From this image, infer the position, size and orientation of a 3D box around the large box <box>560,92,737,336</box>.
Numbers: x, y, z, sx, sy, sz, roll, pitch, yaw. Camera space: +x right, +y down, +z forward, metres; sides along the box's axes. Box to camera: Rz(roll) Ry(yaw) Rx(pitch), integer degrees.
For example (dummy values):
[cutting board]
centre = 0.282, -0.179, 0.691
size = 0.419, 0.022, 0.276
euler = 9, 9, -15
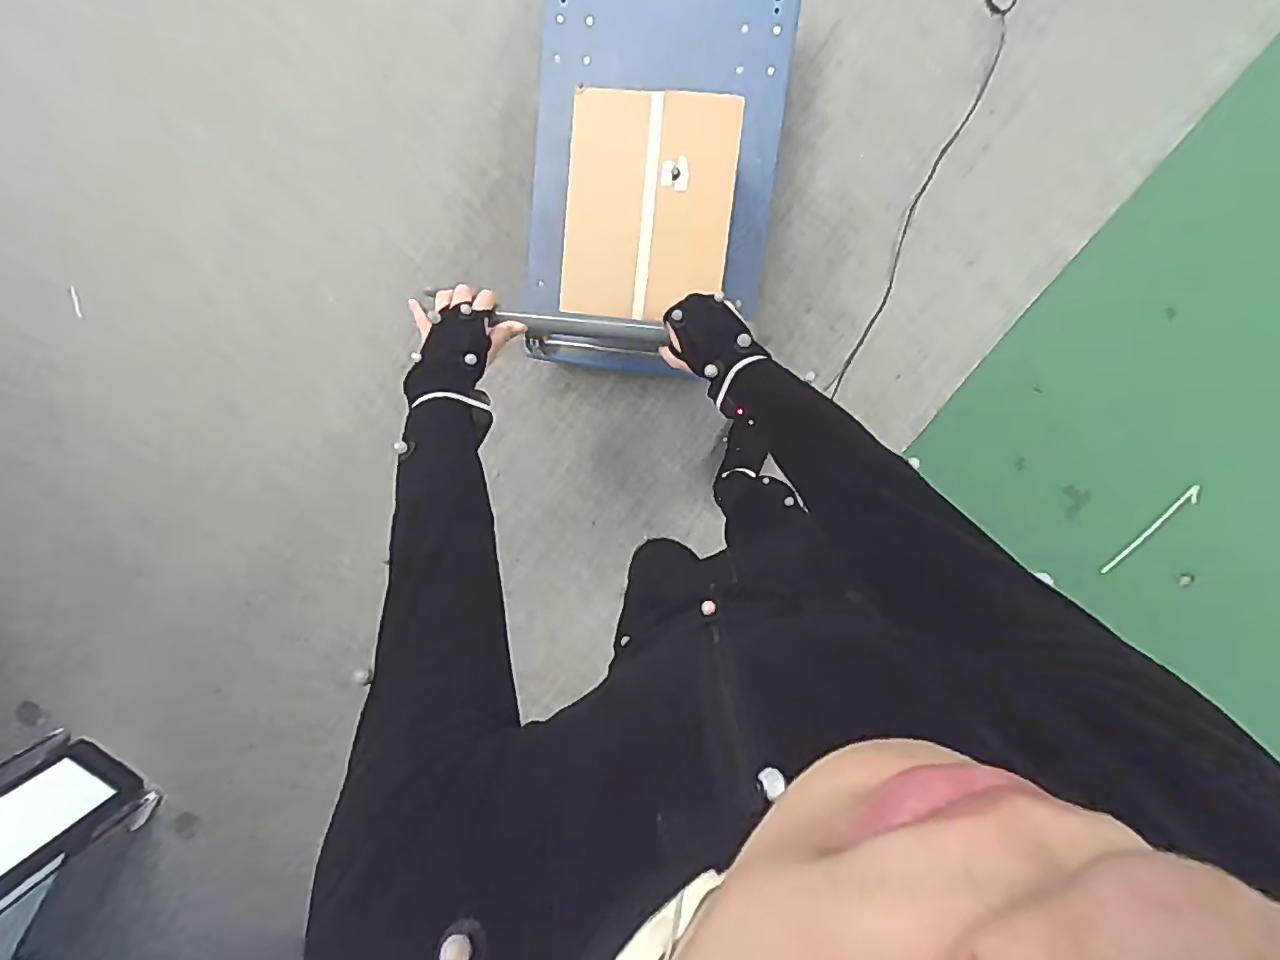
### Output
[large box]
centre = 0.027, -0.541, 1.179
size = 0.320, 0.320, 0.408
euler = 7, 101, 5
